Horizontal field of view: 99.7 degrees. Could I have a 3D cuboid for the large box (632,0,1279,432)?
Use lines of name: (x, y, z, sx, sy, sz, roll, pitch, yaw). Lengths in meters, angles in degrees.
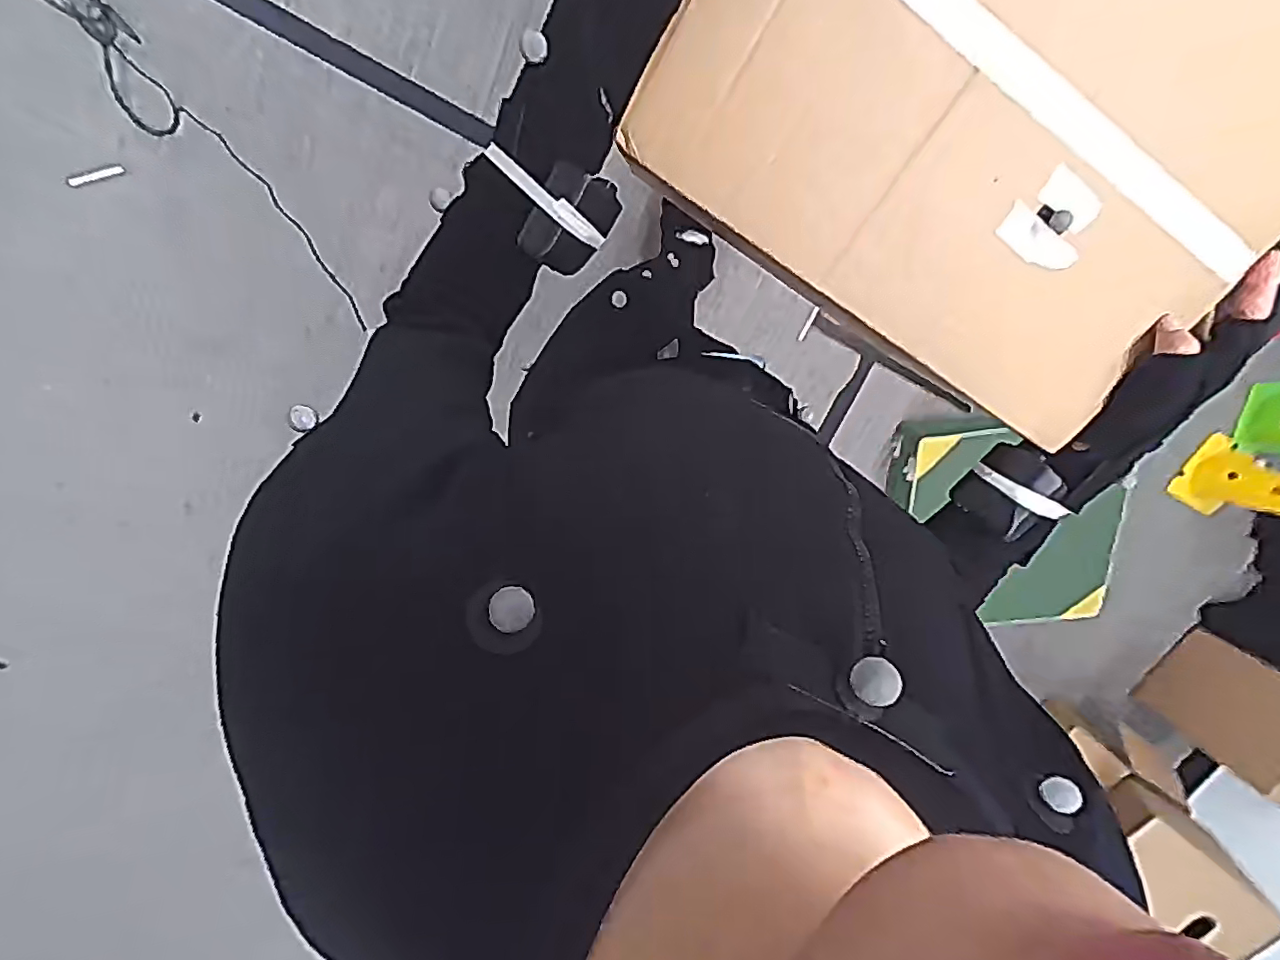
large box: (0.239, -0.310, 0.472, 0.408, 0.320, 0.320, 29, 114, -13)
